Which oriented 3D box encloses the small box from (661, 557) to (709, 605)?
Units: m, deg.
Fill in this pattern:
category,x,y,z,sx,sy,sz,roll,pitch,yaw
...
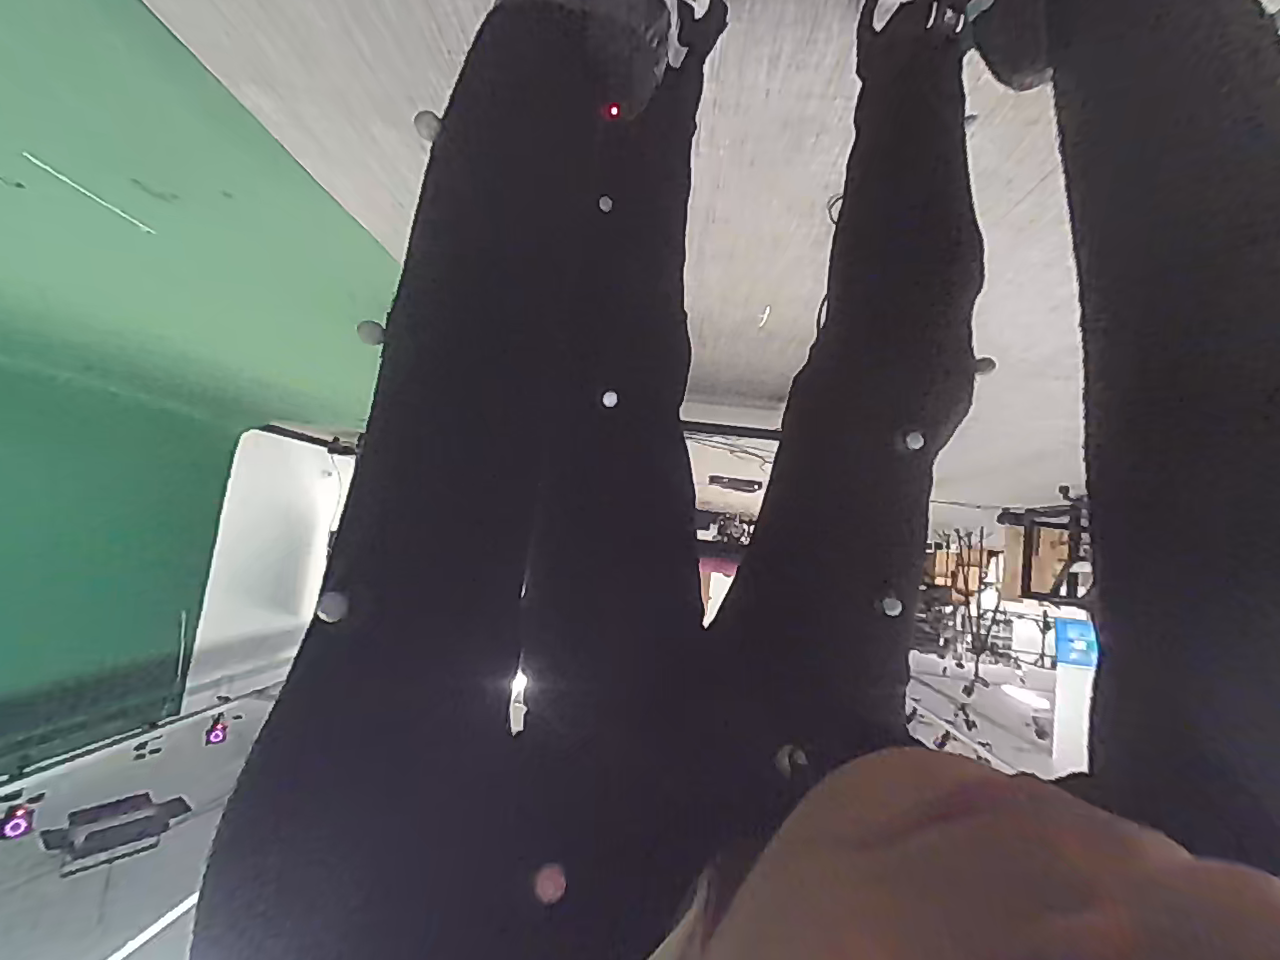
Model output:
category,x,y,z,sx,sy,sz,roll,pitch,yaw
small box,0.188,0.414,2.245,0.179,0.176,0.168,6,175,6
